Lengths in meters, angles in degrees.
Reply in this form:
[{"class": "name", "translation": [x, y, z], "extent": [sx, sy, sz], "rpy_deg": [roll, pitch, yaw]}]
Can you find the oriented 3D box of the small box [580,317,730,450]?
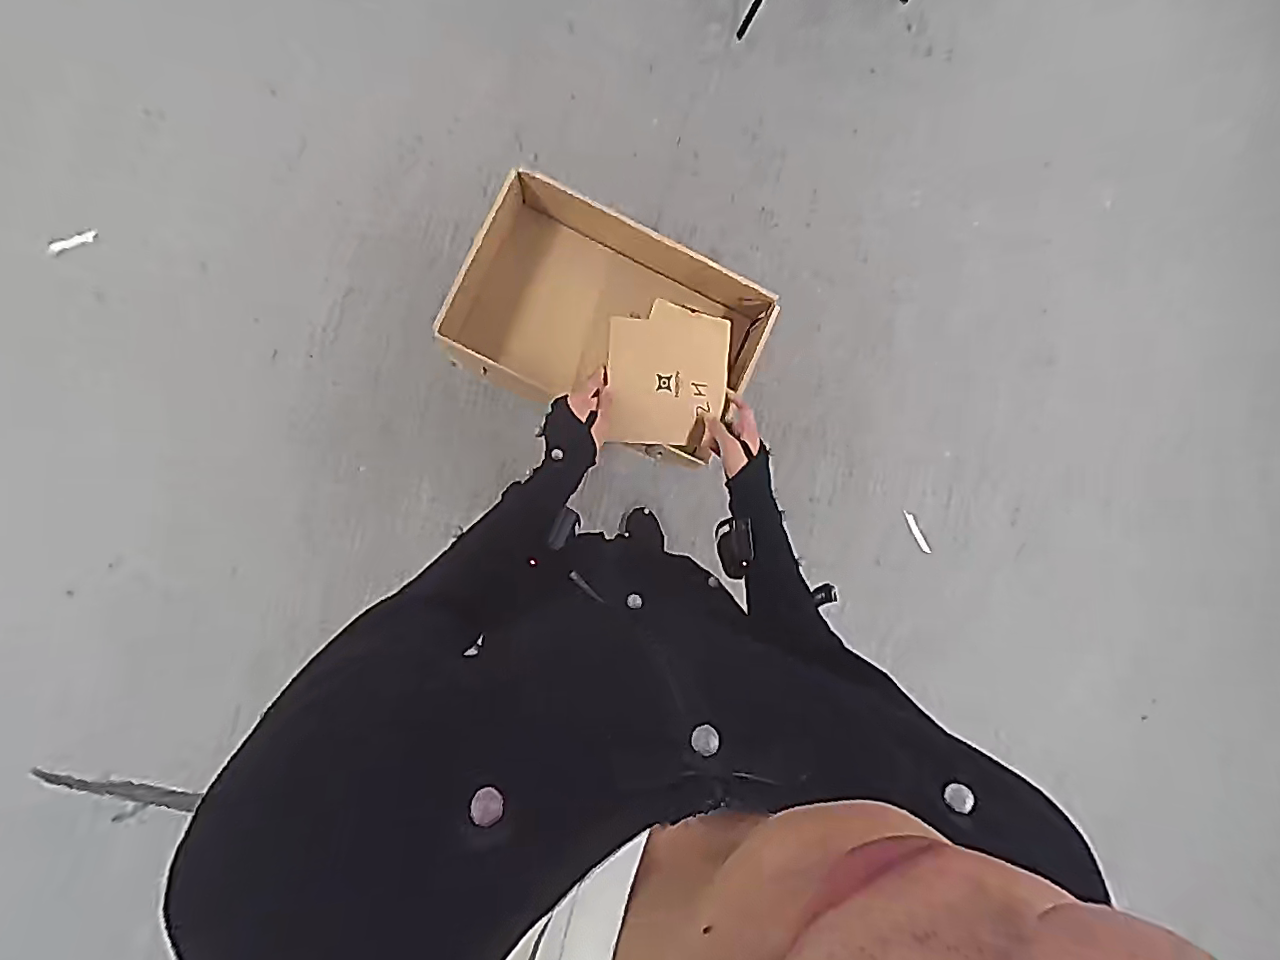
[{"class": "small box", "translation": [0.012, -0.133, 0.796], "extent": [0.179, 0.176, 0.168], "rpy_deg": [1, 96, -18]}]
